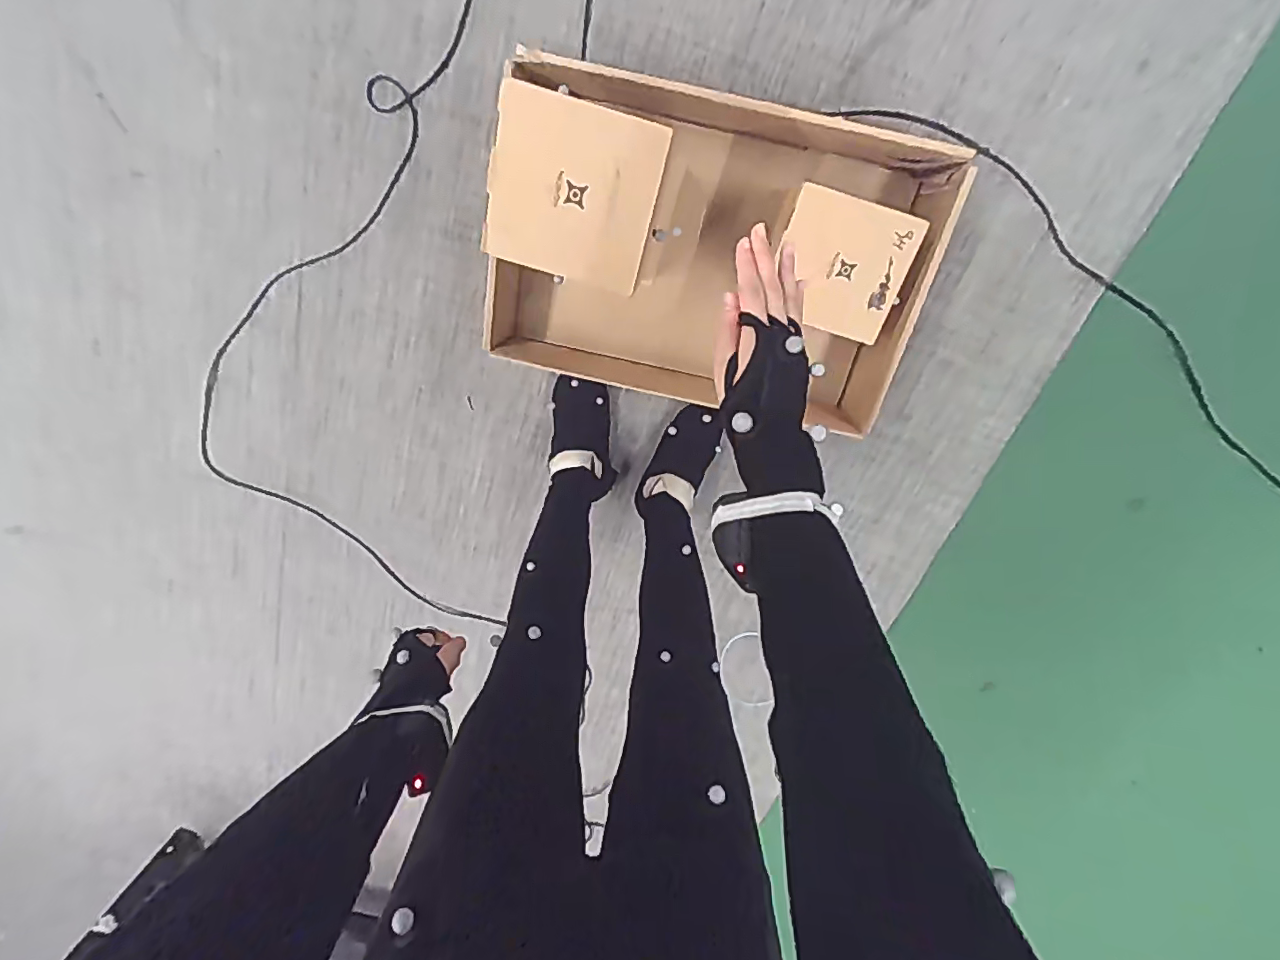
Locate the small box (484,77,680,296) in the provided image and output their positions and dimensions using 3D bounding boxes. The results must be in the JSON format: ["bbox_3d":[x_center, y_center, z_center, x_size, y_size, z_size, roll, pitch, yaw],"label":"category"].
[{"bbox_3d":[-0.060,-0.330,0.633,0.179,0.176,0.168,16,115,-4],"label":"small box"}]

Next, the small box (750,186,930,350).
[{"bbox_3d":[0.274,-0.308,0.795,0.179,0.176,0.168,18,114,-3],"label":"small box"}]
